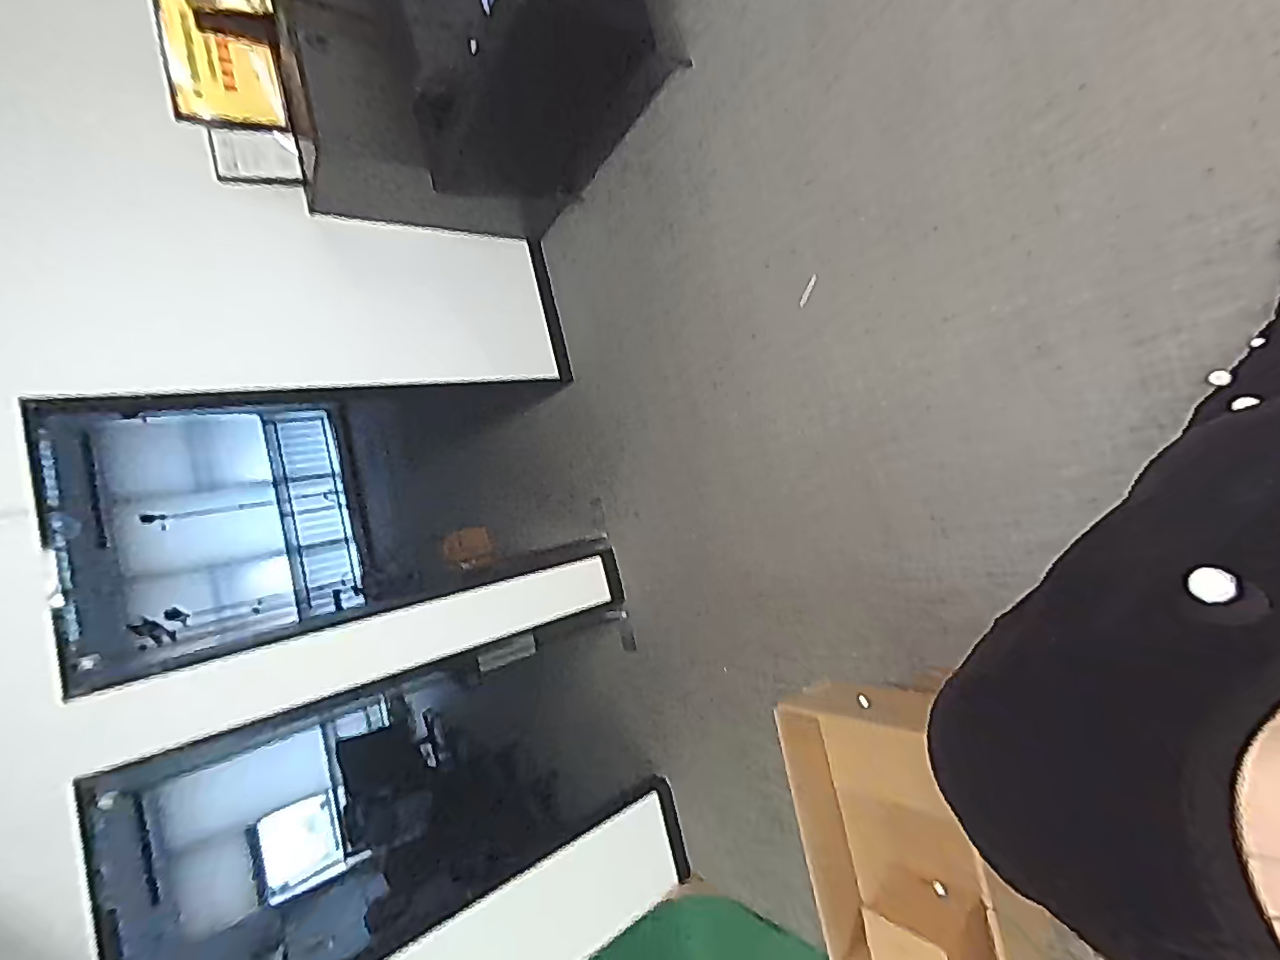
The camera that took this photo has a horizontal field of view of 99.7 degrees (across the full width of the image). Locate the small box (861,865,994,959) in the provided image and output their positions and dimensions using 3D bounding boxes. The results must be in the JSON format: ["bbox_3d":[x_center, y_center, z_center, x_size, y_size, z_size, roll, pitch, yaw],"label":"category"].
[{"bbox_3d":[0.572,0.919,1.065,0.168,0.176,0.179,-14,87,53],"label":"small box"}]
